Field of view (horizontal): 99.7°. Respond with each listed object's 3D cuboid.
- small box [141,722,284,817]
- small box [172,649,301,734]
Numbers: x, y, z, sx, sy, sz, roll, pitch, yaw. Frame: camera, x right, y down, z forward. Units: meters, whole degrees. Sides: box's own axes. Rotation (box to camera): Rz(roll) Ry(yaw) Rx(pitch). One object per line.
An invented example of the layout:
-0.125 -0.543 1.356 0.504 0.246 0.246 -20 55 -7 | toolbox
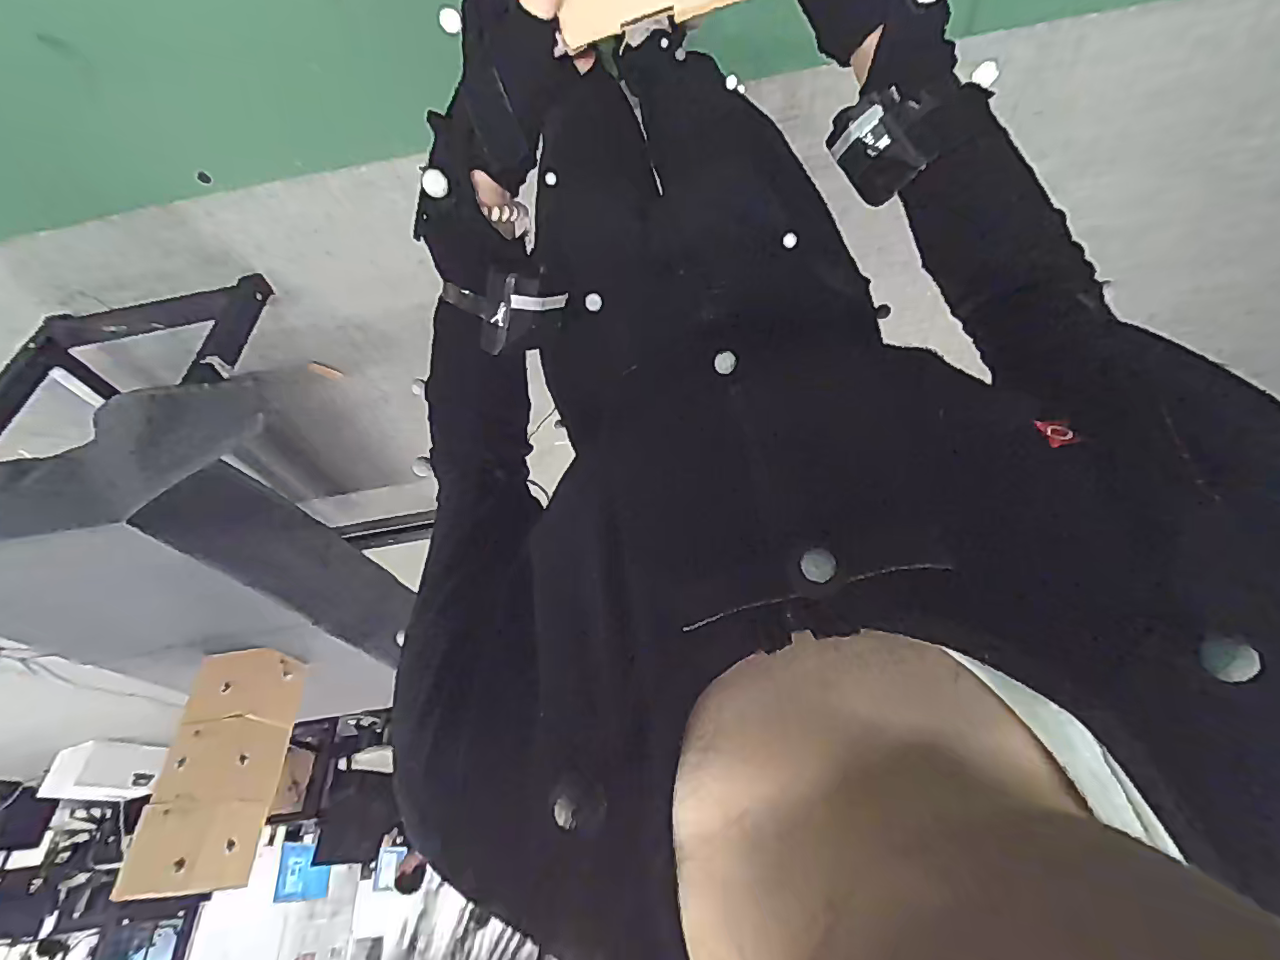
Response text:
-0.988 0.675 1.267 0.168 0.176 0.179 -9 144 5 | small box
-1.000 0.542 1.361 0.179 0.176 0.168 -9 144 2 | small box
